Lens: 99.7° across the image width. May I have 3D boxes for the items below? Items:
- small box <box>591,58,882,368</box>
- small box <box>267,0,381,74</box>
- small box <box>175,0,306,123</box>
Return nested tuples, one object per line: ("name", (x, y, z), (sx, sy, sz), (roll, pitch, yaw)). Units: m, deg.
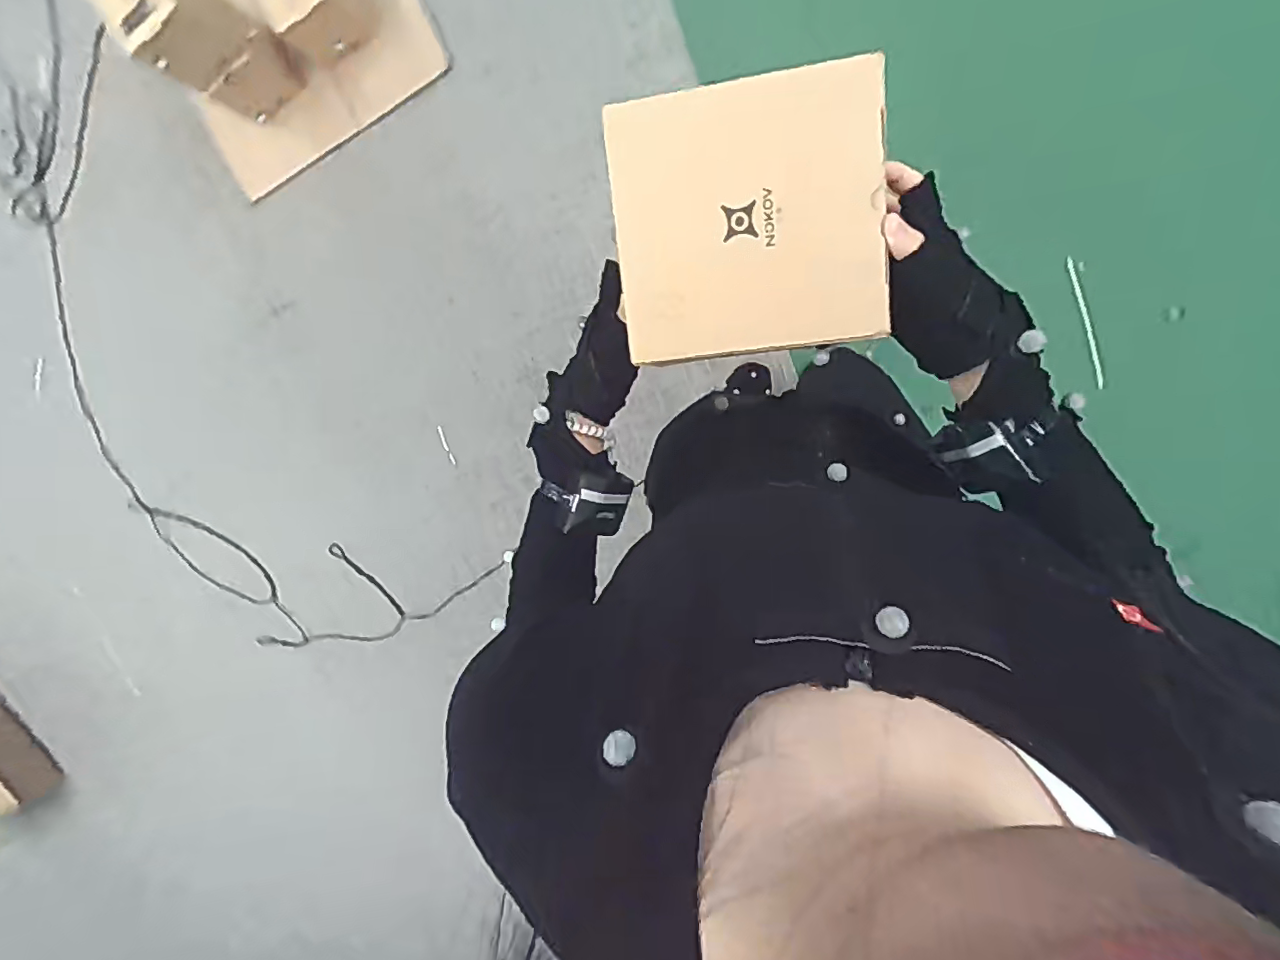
("small box", (0.074, -0.182, 0.429), (0.179, 0.176, 0.168), (-7, 101, 9))
("small box", (-0.776, -1.151, 1.314), (0.168, 0.176, 0.179), (-23, 97, 14))
("small box", (-0.998, -1.046, 1.367), (0.168, 0.176, 0.179), (-27, 95, 13))
